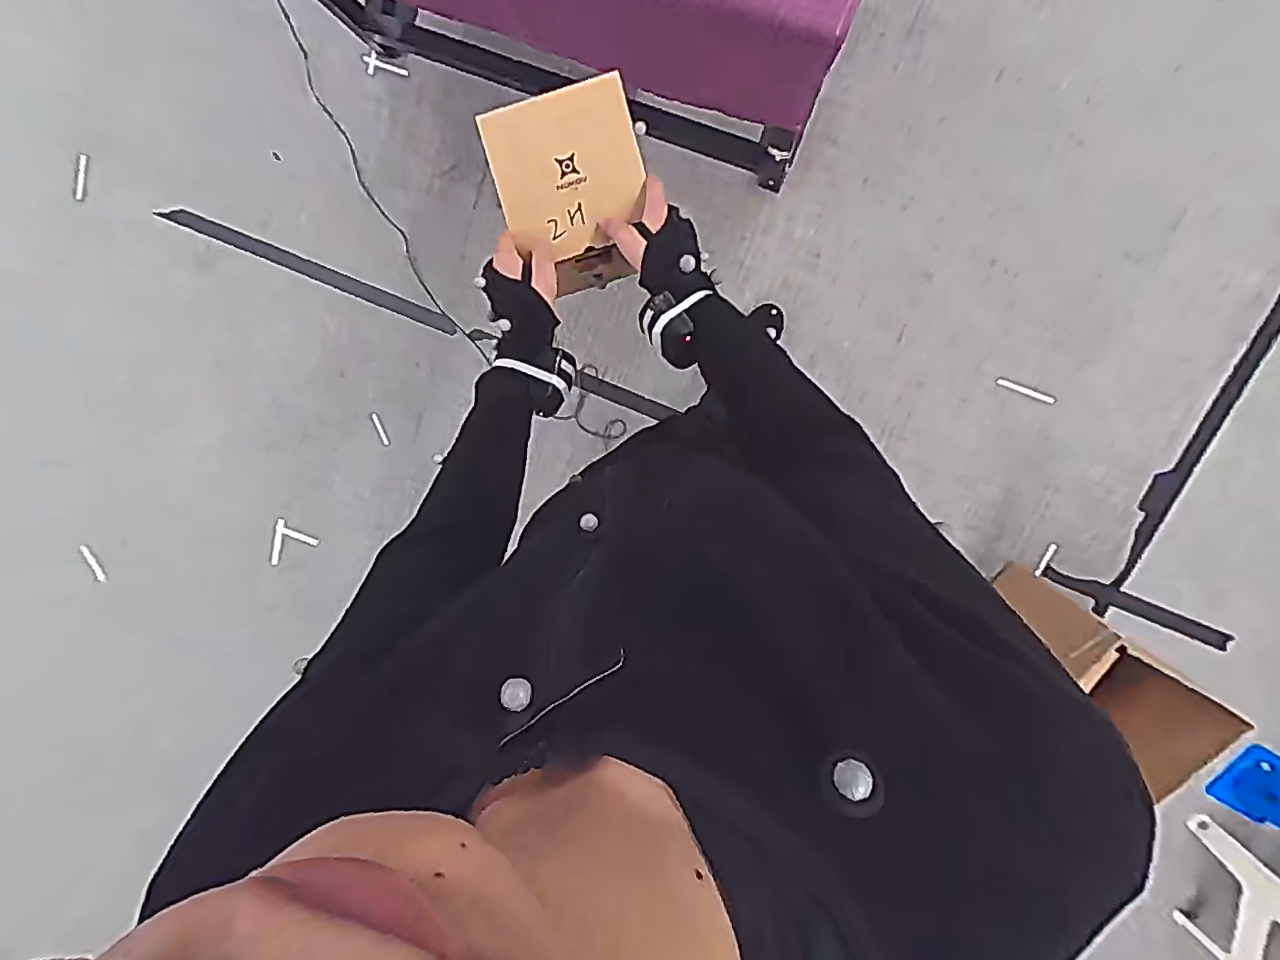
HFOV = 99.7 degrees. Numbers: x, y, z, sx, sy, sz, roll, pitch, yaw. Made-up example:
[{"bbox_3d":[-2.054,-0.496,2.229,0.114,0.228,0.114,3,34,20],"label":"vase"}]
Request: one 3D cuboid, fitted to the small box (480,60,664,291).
[{"bbox_3d":[-0.072,-0.354,0.666,0.168,0.176,0.179,-15,98,4],"label":"small box"}]
